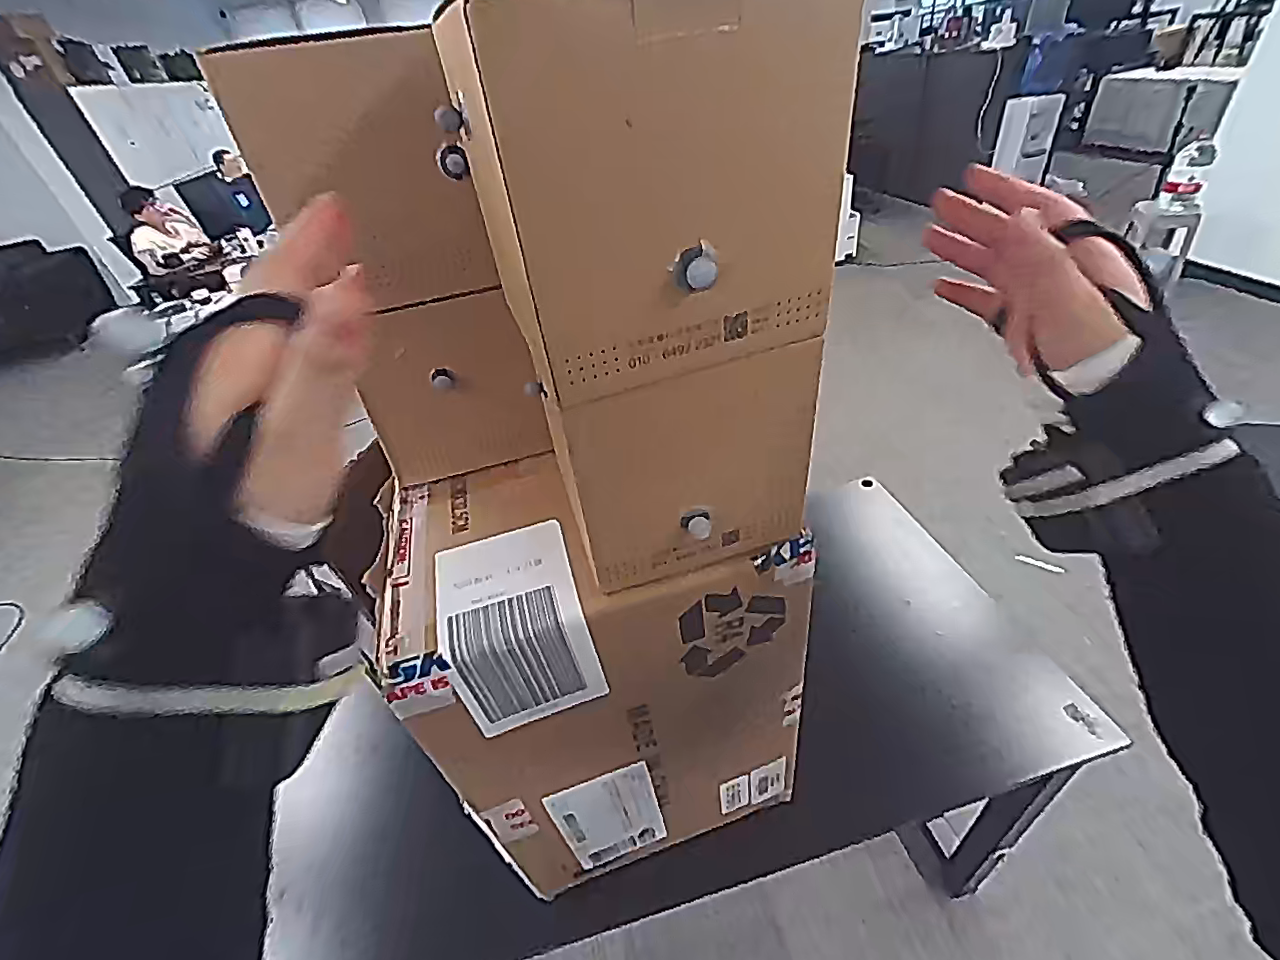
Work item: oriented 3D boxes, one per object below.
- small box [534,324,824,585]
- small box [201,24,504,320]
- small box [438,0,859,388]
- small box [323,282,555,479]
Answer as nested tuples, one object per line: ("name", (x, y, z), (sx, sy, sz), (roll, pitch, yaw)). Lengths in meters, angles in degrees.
("small box", (0.016, -0.051, 0.420), (0.168, 0.176, 0.179), (-16, 40, -9))
("small box", (-0.196, -0.251, 0.445), (0.179, 0.176, 0.168), (-18, 37, -12))
("small box", (-0.005, -0.176, 0.314), (0.168, 0.176, 0.179), (-18, 40, -11))
("small box", (-0.178, -0.123, 0.545), (0.179, 0.176, 0.168), (-16, 38, -9))
